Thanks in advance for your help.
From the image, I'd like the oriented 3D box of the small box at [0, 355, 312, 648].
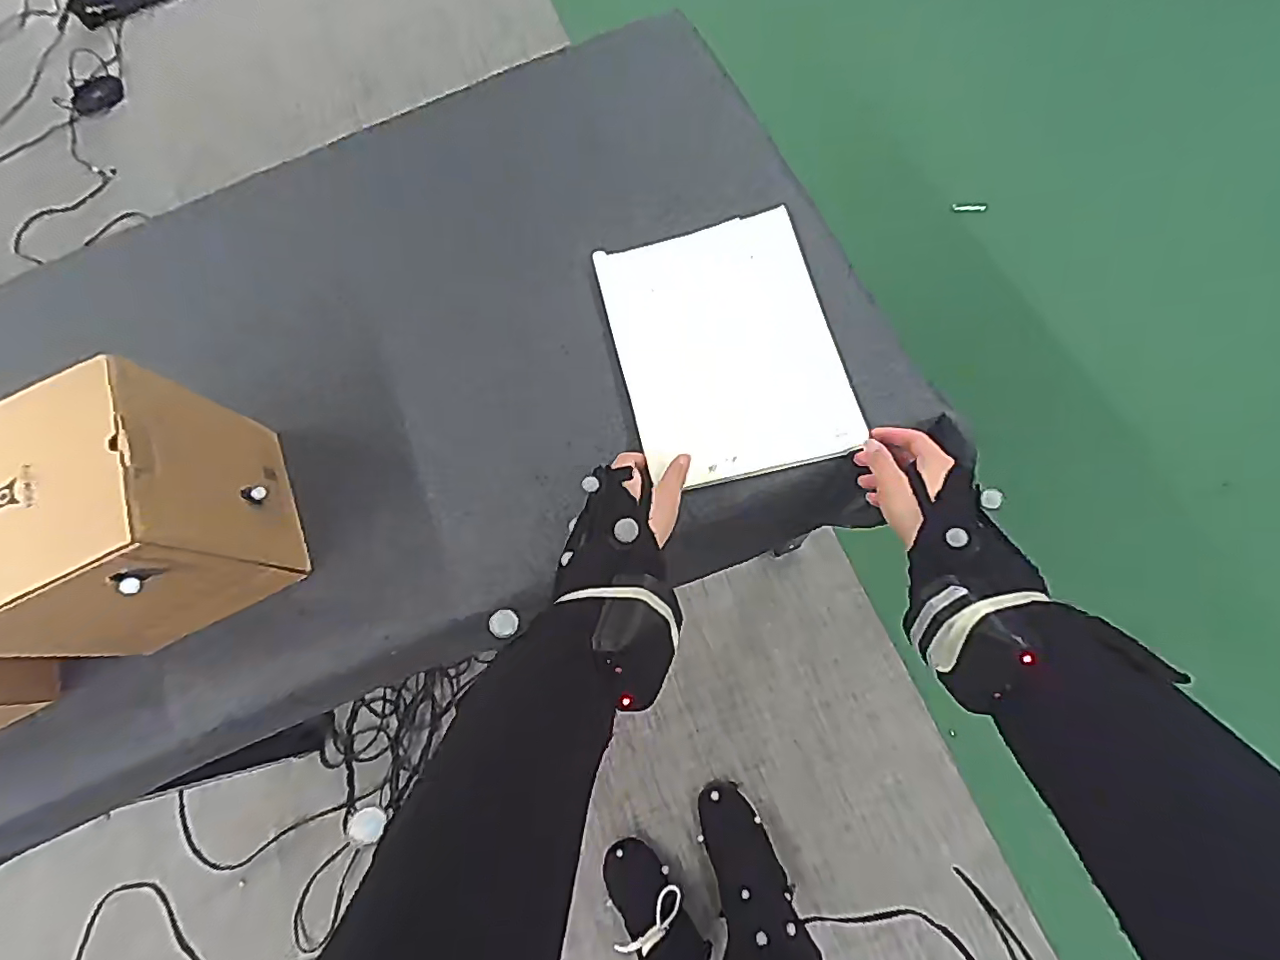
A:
[{"bbox_3d":[-0.429,0.034,0.461,0.179,0.176,0.168,-27,71,-1],"label":"small box"}]
